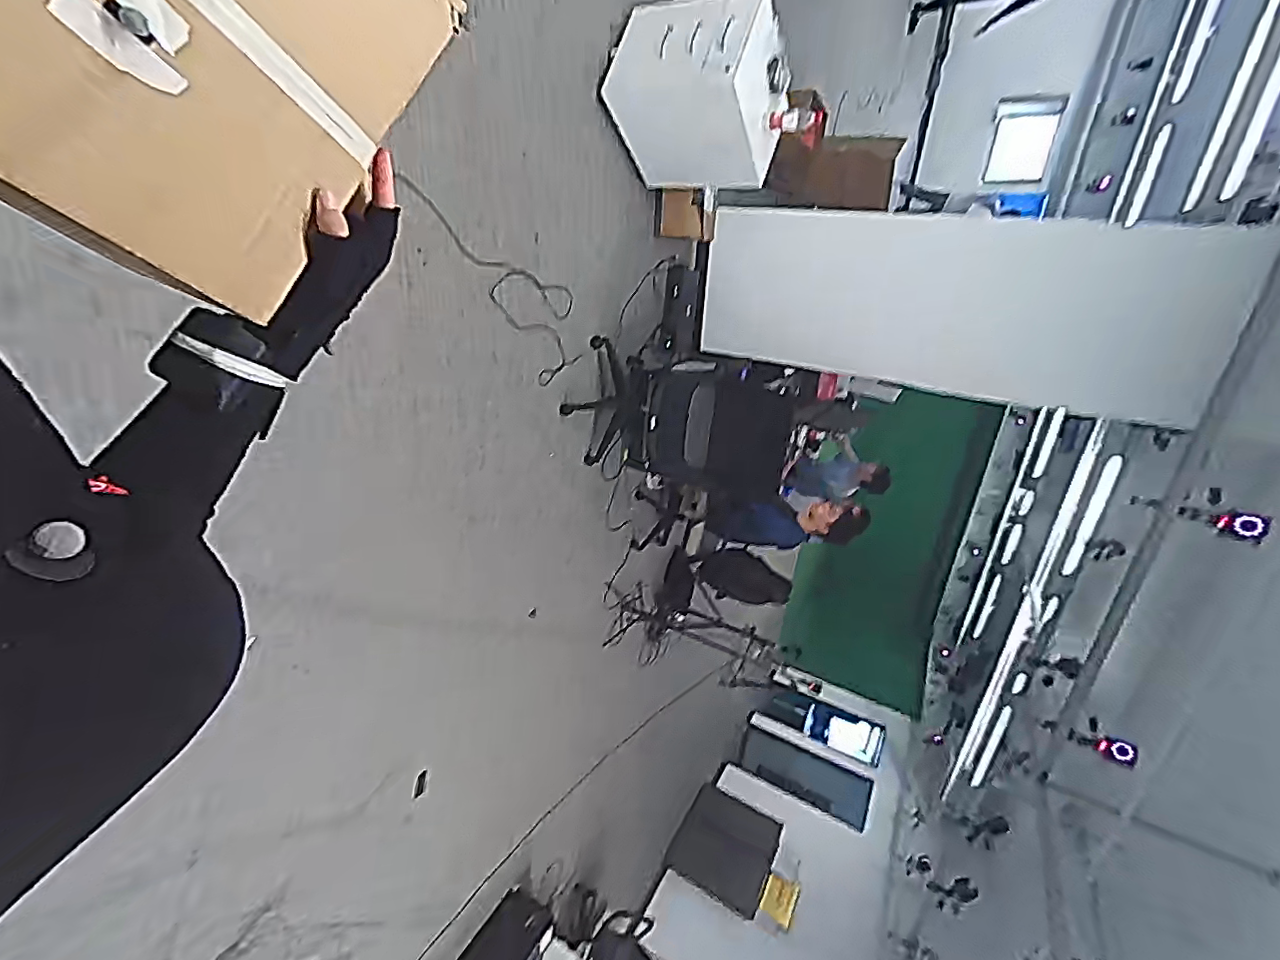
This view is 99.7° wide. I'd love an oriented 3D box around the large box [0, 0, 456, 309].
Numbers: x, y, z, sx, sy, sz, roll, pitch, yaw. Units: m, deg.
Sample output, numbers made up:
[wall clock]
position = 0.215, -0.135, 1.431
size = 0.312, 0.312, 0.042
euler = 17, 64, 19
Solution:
[large box]
position = -0.423, -0.376, 0.348
size = 0.320, 0.320, 0.408
euler = -62, 148, -7
